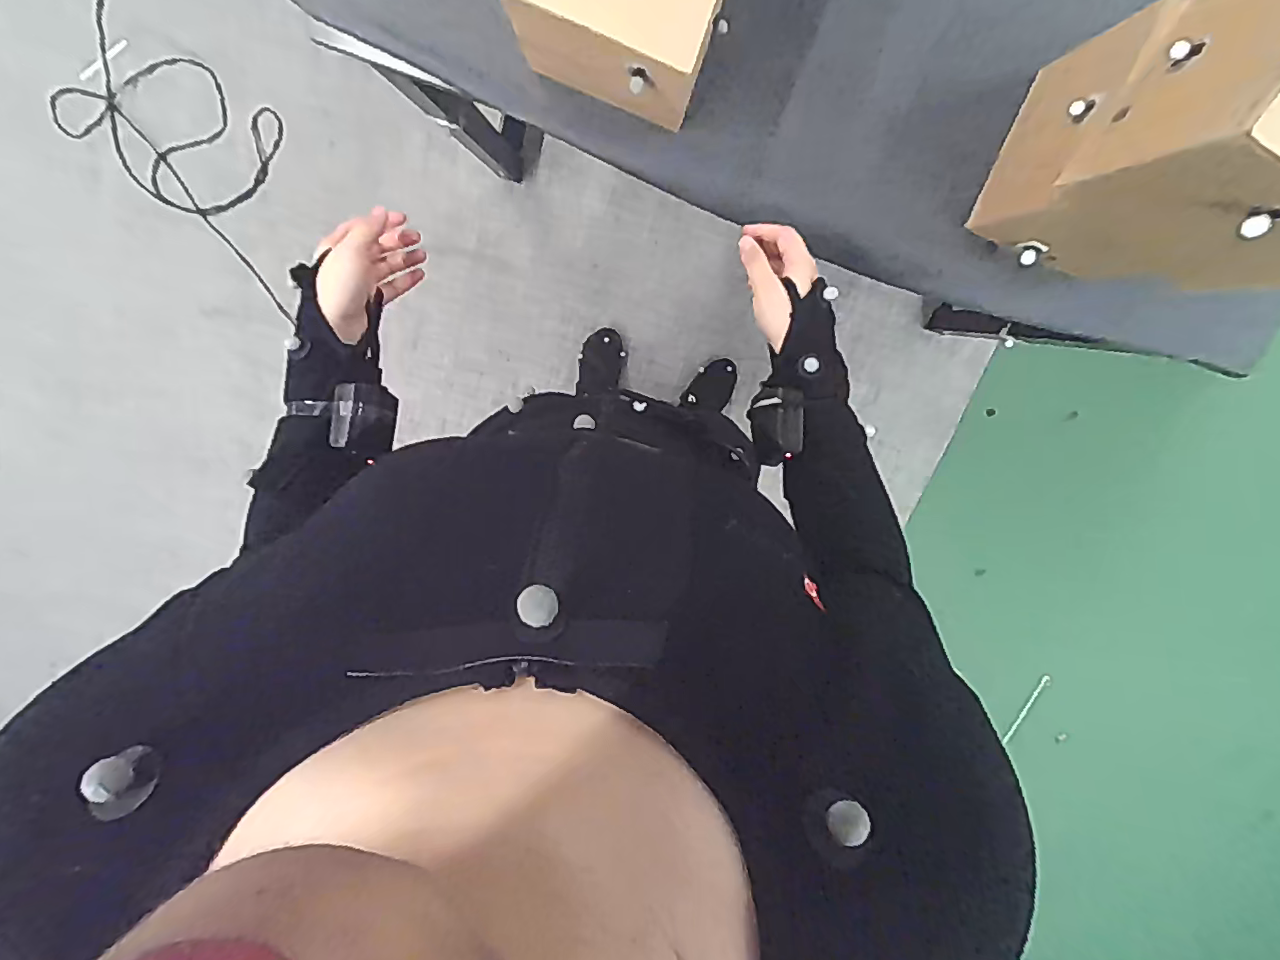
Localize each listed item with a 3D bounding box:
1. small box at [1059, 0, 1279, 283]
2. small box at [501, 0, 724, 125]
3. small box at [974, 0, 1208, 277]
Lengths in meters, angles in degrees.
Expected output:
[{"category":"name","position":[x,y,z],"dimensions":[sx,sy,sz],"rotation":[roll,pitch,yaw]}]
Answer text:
[{"category":"small box","position":[0.485,-0.263,0.402],"dimensions":[0.179,0.176,0.168],"rotation":[29,105,-7]},{"category":"small box","position":[-0.009,-0.469,0.509],"dimensions":[0.179,0.176,0.168],"rotation":[19,107,-6]},{"category":"small box","position":[0.490,-0.324,0.554],"dimensions":[0.168,0.176,0.179],"rotation":[18,106,-4]}]
